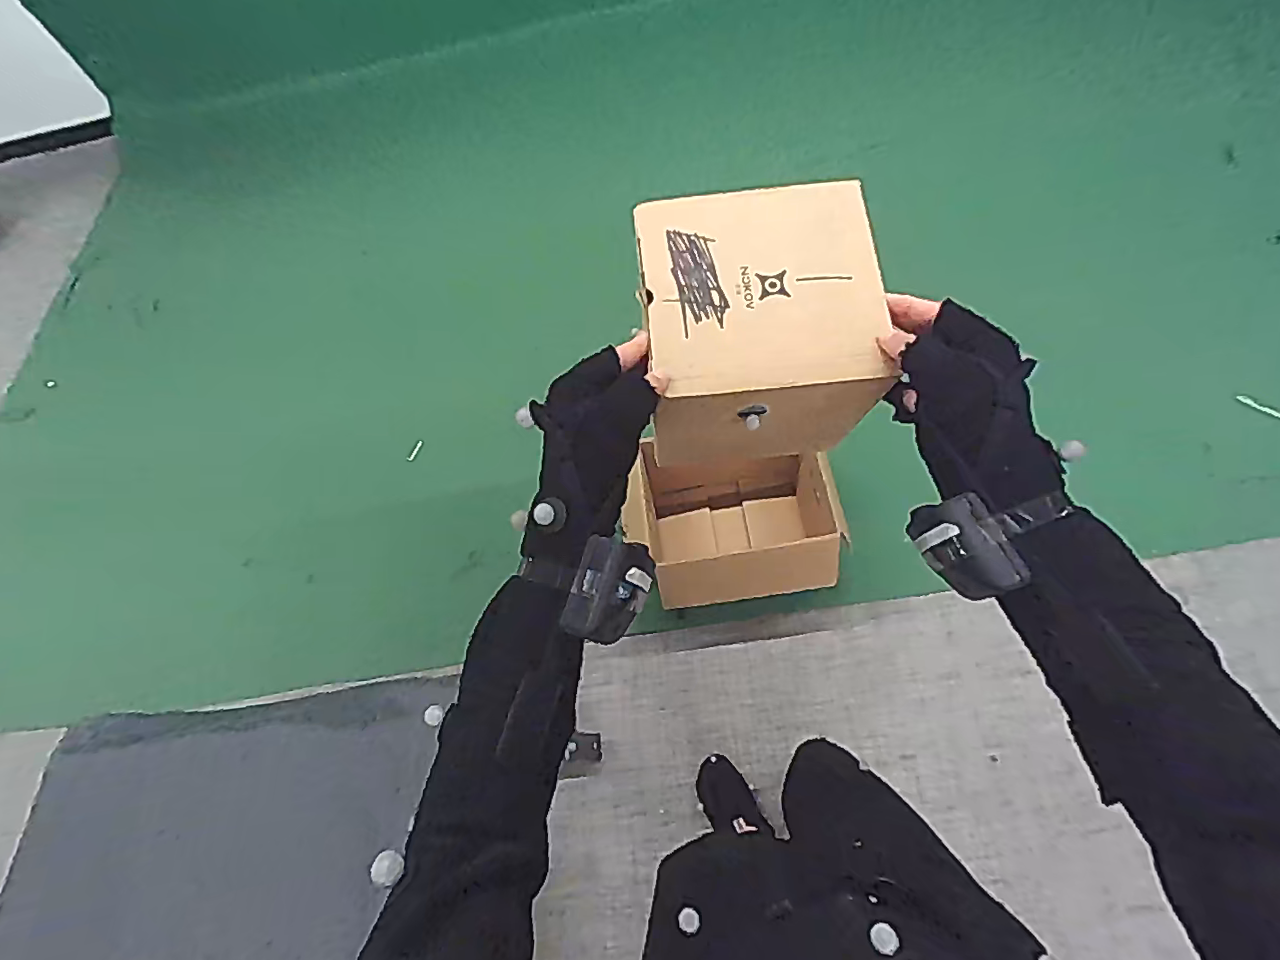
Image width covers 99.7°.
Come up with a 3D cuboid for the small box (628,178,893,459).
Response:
[{"bbox_3d":[0.088,-0.124,0.473,0.179,0.176,0.168,-6,74,1],"label":"small box"}]
